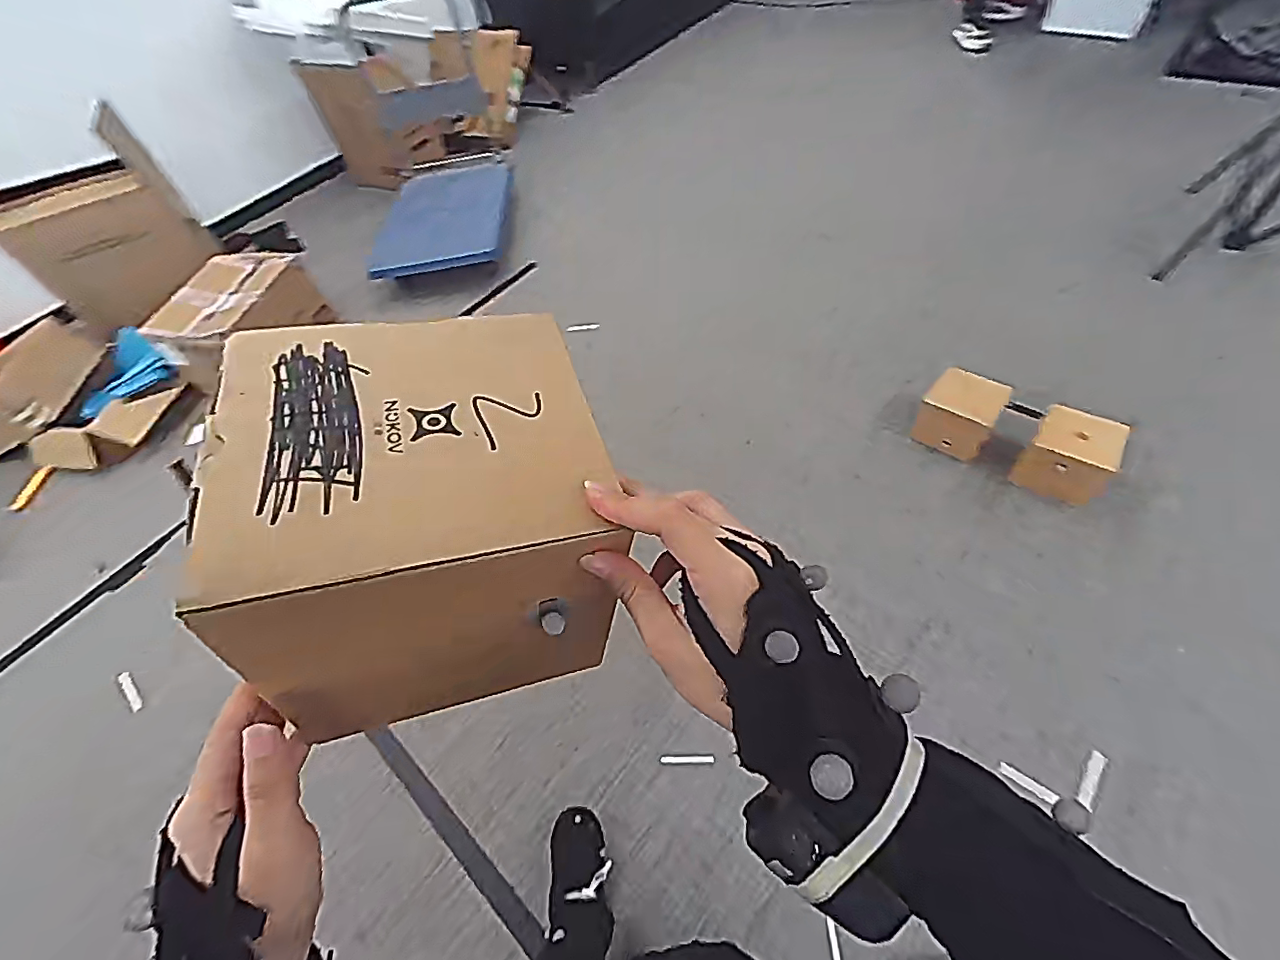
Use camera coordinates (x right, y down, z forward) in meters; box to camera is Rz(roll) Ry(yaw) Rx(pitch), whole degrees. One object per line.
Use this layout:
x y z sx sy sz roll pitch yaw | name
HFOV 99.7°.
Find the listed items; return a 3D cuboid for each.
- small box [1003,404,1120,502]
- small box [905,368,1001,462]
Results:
1.112 -0.067 1.437 0.179 0.176 0.168 26 63 25 | small box
0.903 -0.189 1.556 0.179 0.176 0.168 32 66 27 | small box
